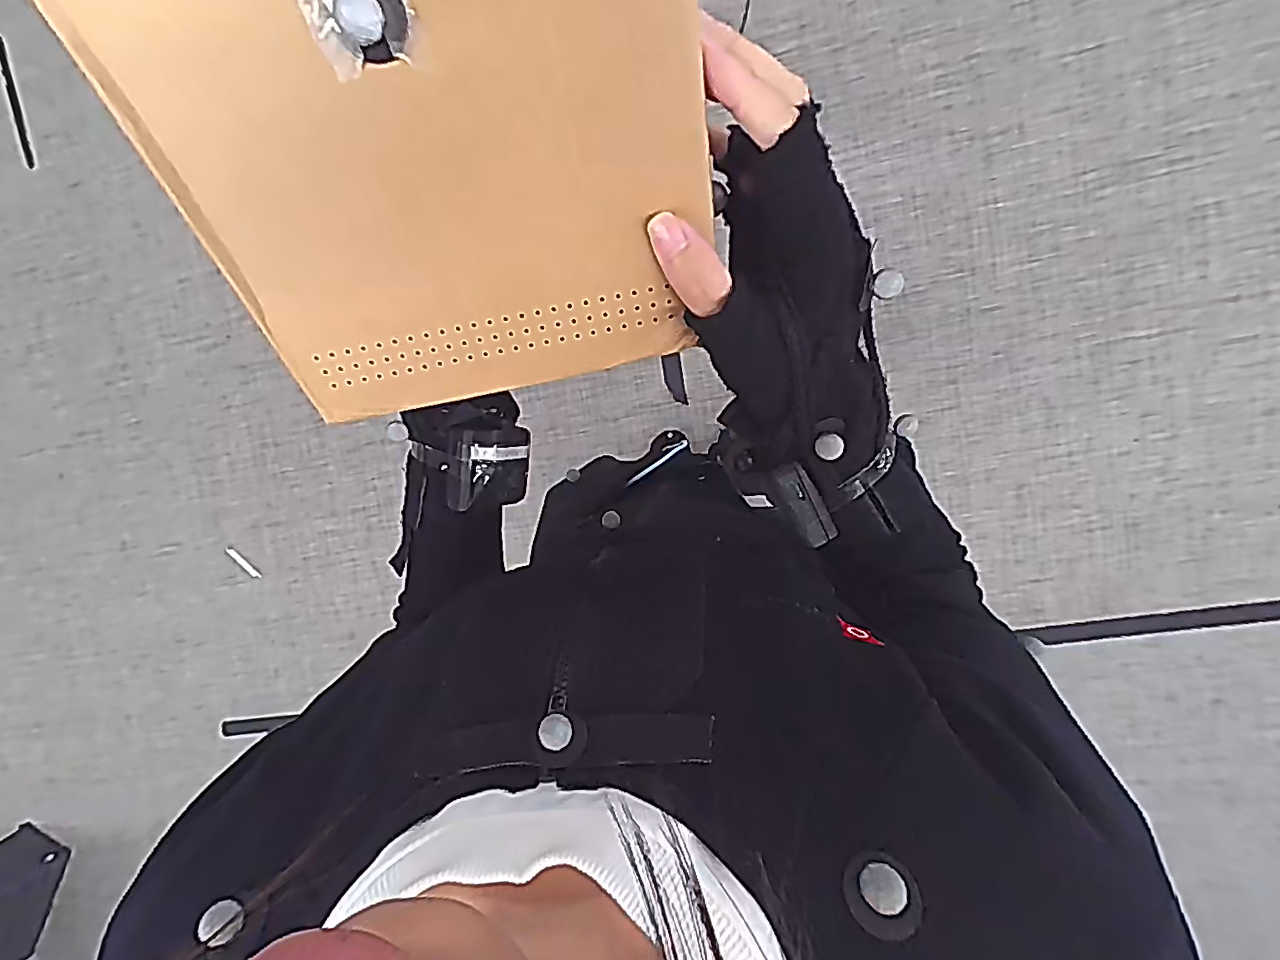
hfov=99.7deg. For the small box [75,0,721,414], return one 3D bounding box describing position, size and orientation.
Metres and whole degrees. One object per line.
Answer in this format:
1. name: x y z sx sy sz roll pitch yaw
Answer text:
1. small box: -0.068 -0.148 0.241 0.179 0.168 0.176 -10 133 2
